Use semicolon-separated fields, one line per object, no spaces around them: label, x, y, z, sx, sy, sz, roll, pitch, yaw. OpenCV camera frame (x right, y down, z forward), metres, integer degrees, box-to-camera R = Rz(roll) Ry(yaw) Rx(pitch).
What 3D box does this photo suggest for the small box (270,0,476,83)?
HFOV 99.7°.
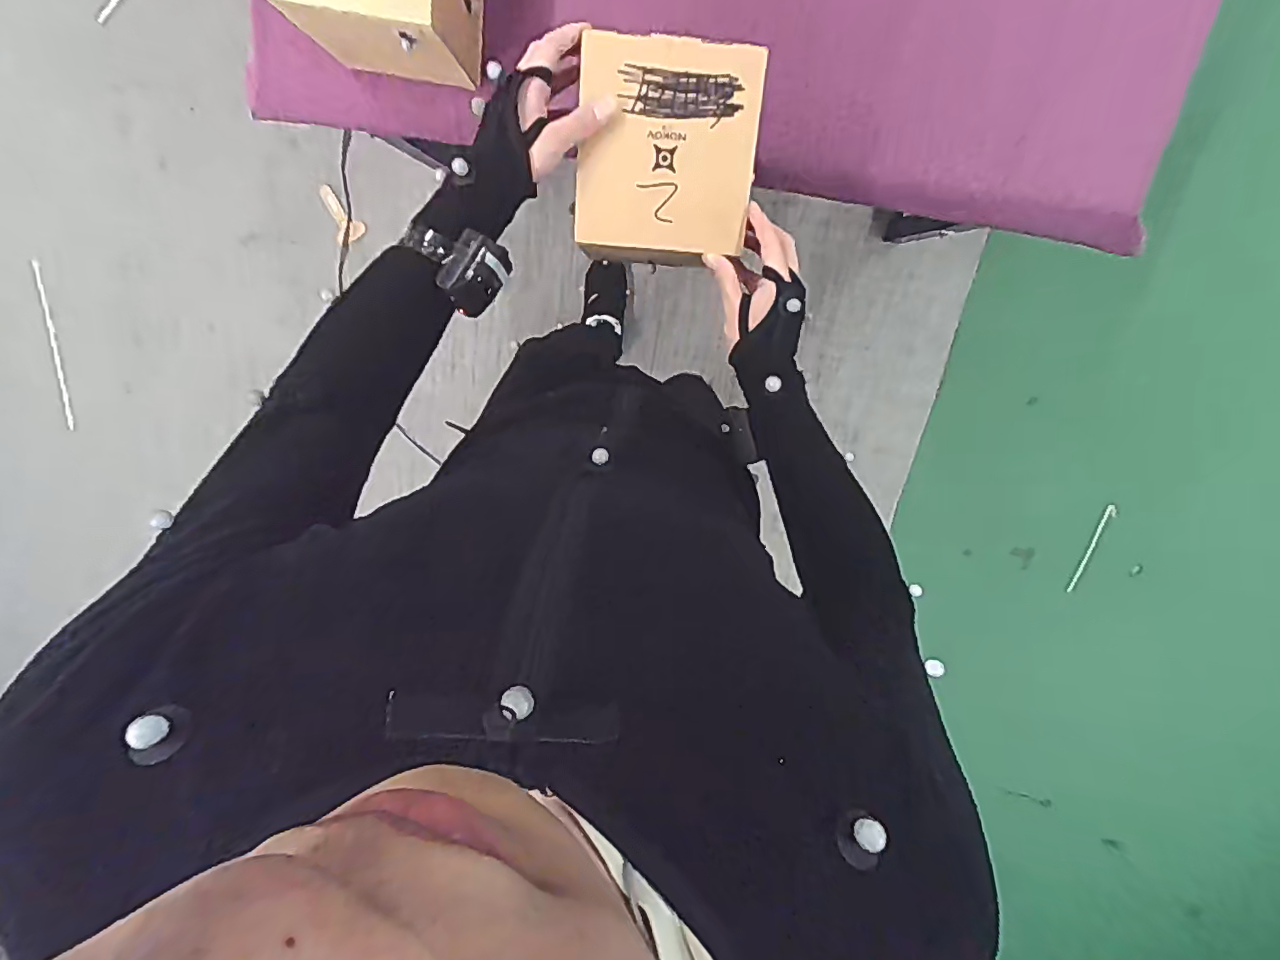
small box;-0.291;-0.572;0.595;0.179;0.176;0.168;8;108;-3
